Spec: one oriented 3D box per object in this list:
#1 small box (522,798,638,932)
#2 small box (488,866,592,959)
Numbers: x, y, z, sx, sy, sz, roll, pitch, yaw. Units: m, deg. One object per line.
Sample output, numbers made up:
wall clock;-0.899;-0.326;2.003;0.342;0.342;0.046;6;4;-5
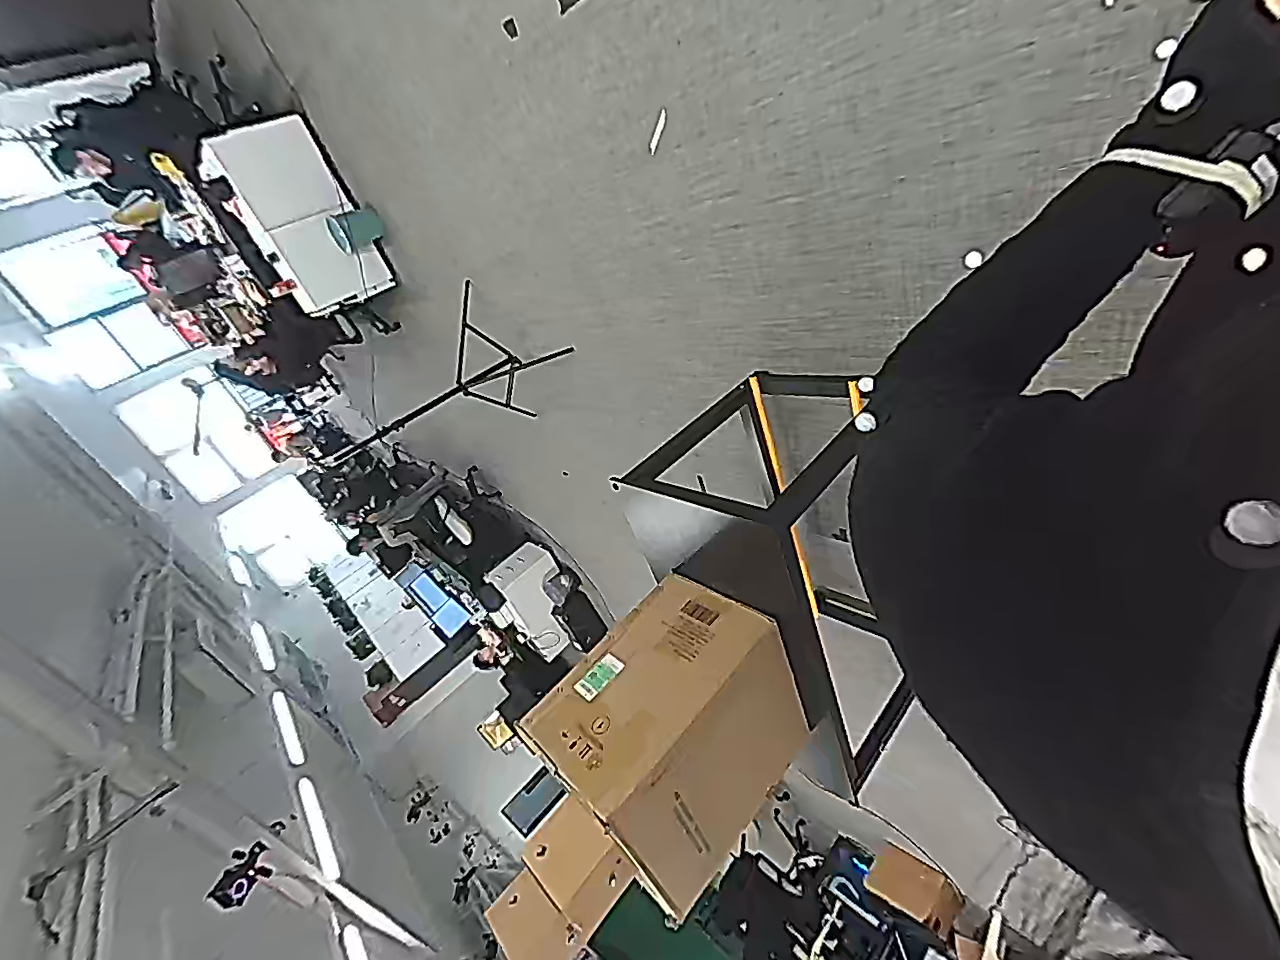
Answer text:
small box;-0.135;0.877;1.254;0.179;0.176;0.168;18;140;45
small box;-0.254;1.135;1.394;0.179;0.176;0.168;13;136;50
